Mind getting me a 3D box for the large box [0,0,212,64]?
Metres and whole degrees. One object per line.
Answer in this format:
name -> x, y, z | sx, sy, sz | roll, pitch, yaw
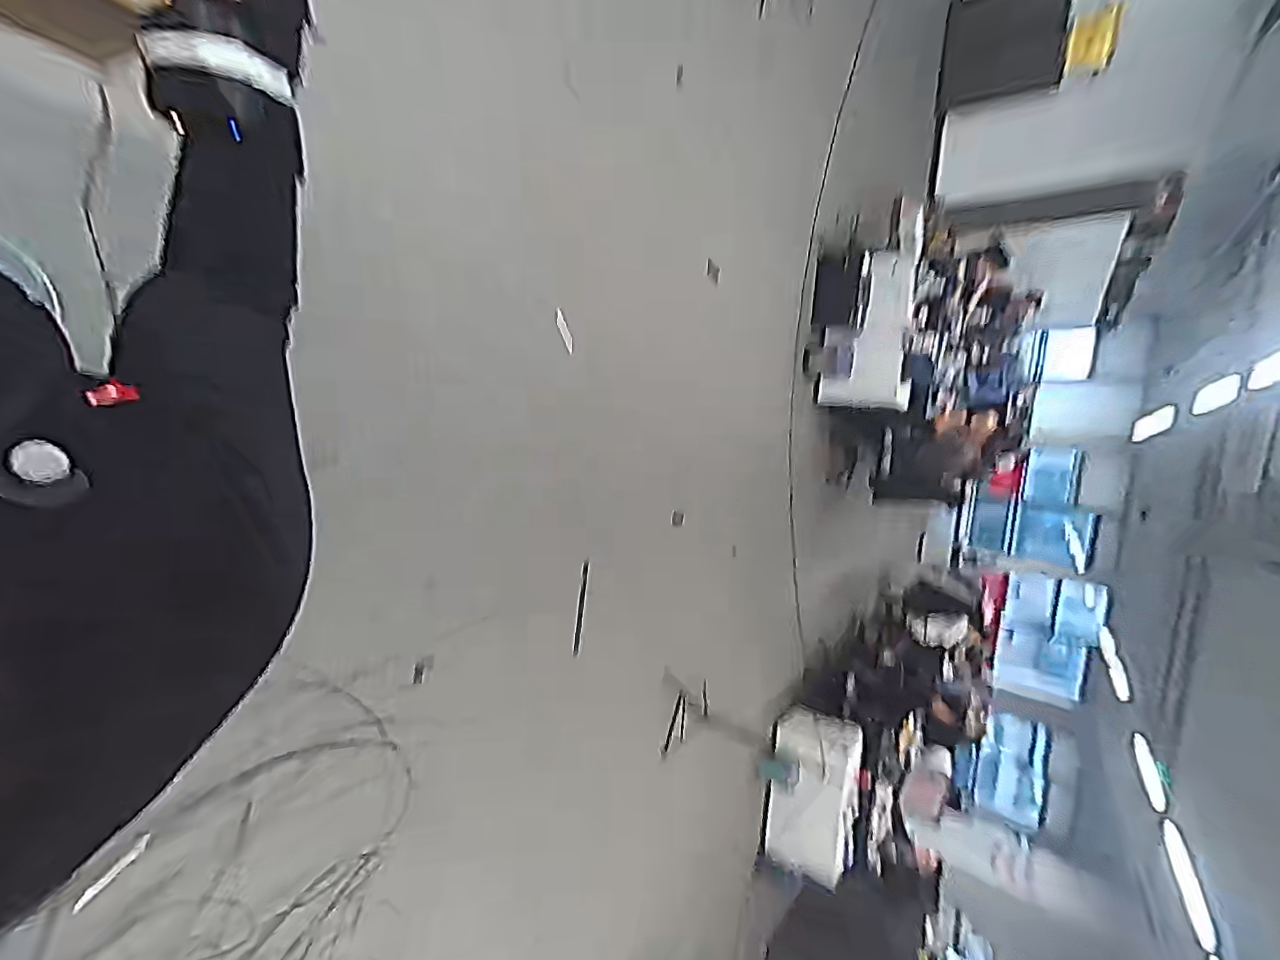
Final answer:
large box -> -0.486, -0.487, 0.254 | 0.408, 0.320, 0.320 | -1, 112, -56
